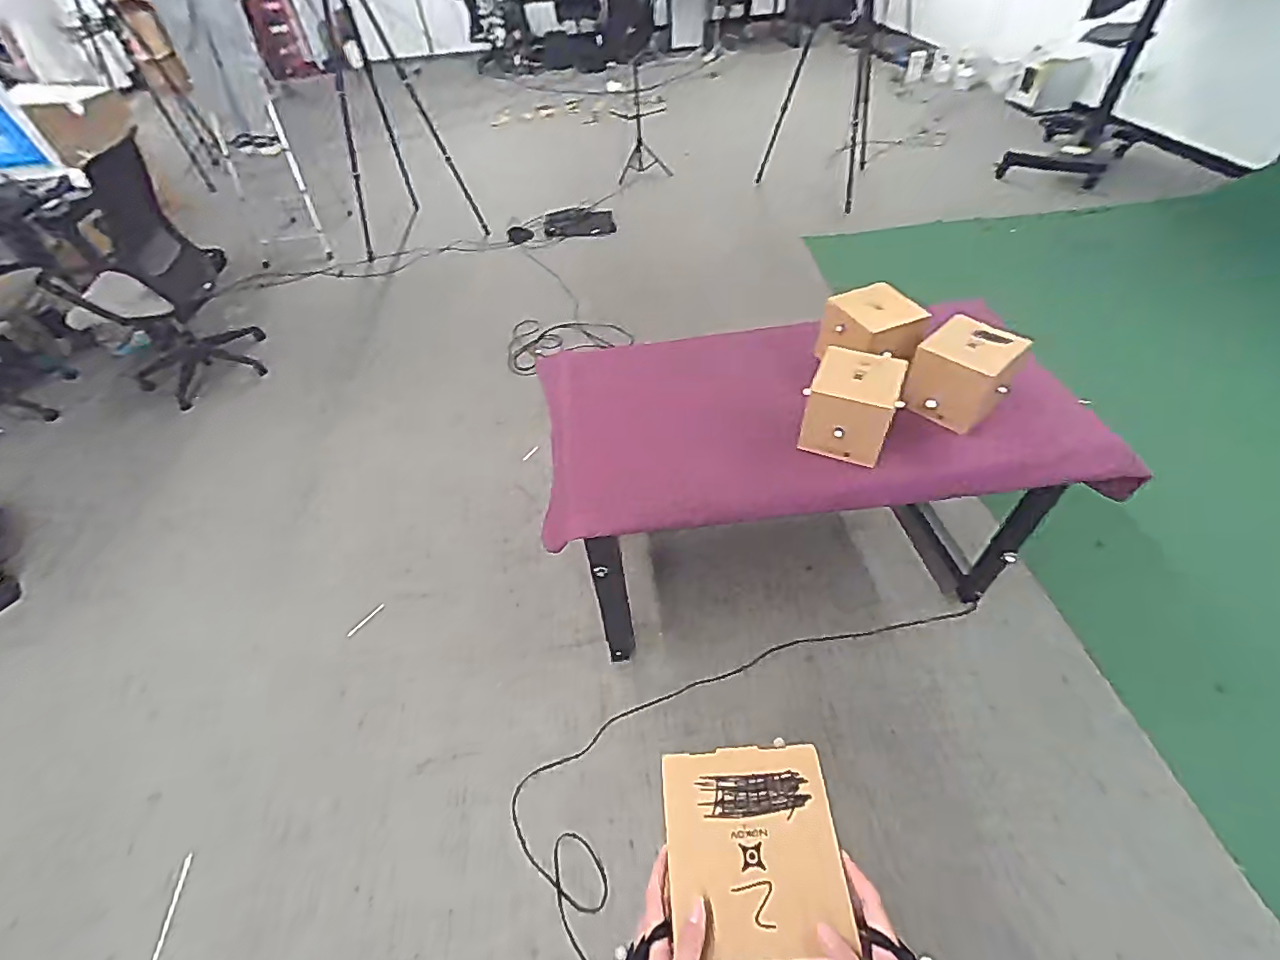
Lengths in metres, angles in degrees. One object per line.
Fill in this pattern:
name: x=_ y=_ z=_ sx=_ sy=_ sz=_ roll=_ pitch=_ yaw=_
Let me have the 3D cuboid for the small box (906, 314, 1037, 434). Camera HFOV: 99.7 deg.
small box: x=0.734 y=-0.238 z=1.217 sx=0.179 sy=0.176 sz=0.168 roll=-35 pitch=54 yaw=-23

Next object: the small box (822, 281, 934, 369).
small box: x=0.578 y=-0.360 z=1.341 sx=0.168 sy=0.176 sz=0.179 roll=-19 pitch=50 yaw=-12

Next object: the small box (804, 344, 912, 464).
small box: x=0.464 y=-0.162 z=1.168 sx=0.168 sy=0.176 sz=0.179 roll=18 pitch=52 yaw=19
